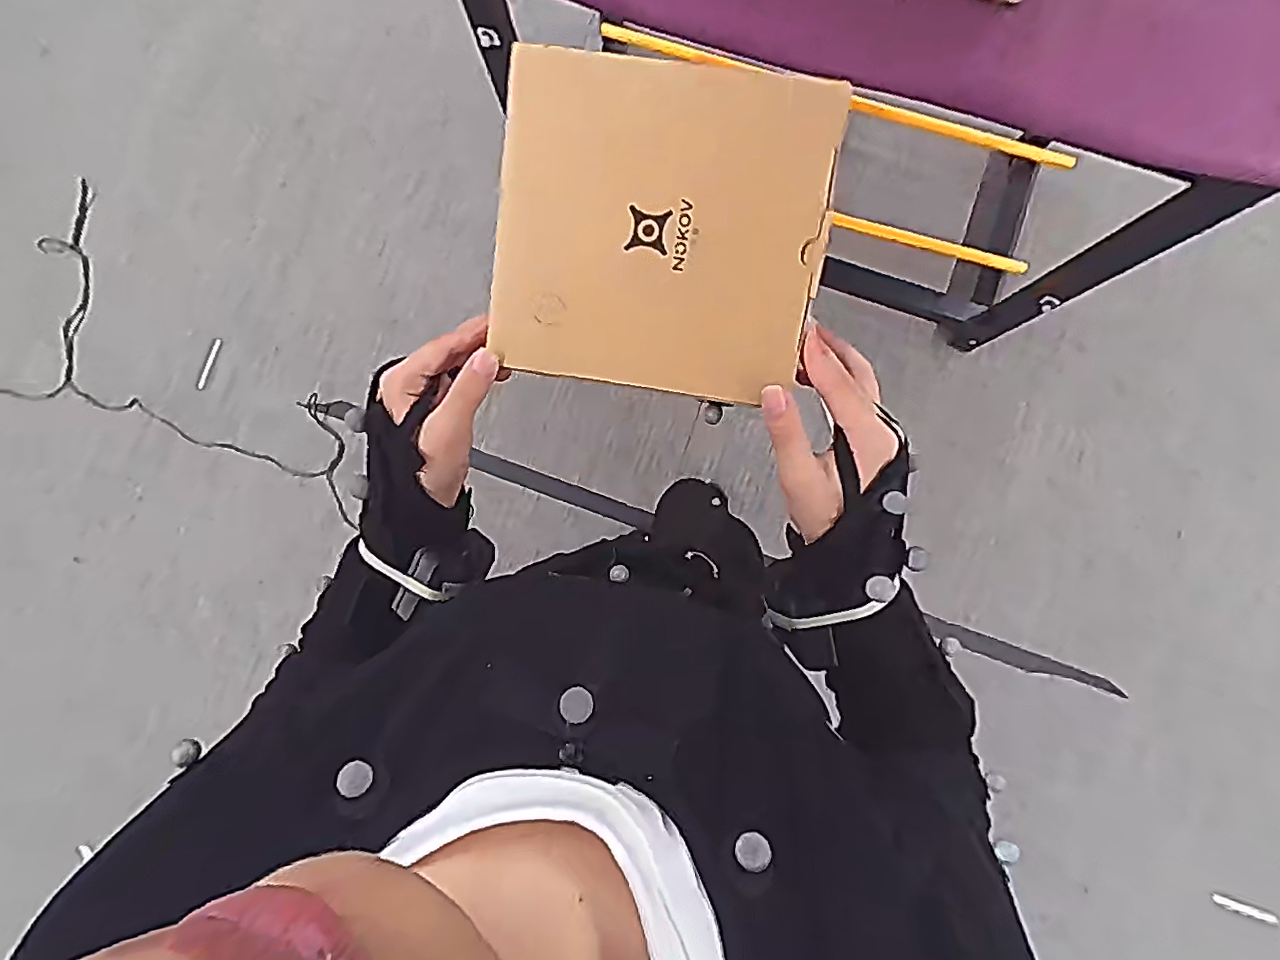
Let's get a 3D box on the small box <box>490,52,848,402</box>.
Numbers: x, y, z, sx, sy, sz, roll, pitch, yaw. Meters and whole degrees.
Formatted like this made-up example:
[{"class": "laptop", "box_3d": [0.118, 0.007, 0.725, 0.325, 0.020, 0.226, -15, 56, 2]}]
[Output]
[{"class": "small box", "box_3d": [0.016, -0.147, 0.373, 0.179, 0.176, 0.168, 9, 100, 2]}]
